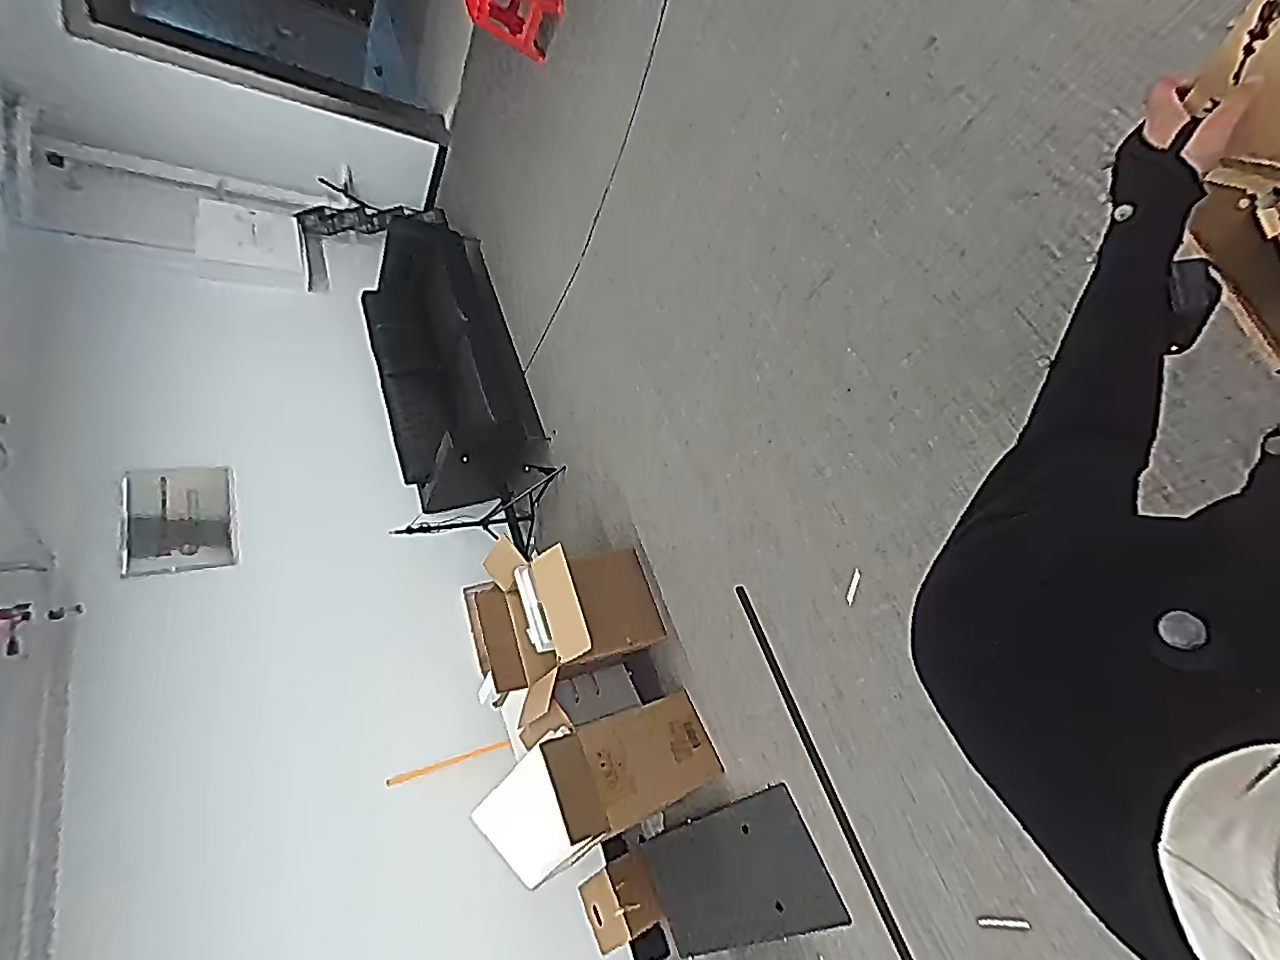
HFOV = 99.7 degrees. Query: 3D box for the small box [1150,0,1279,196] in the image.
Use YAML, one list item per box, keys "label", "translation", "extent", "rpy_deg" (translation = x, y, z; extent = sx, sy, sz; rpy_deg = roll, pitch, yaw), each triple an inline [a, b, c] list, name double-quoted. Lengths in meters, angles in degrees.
- label: "small box"
  translation: [0.621, -0.351, 0.473]
  extent: [0.179, 0.176, 0.168]
  rpy_deg: [46, 133, 37]
